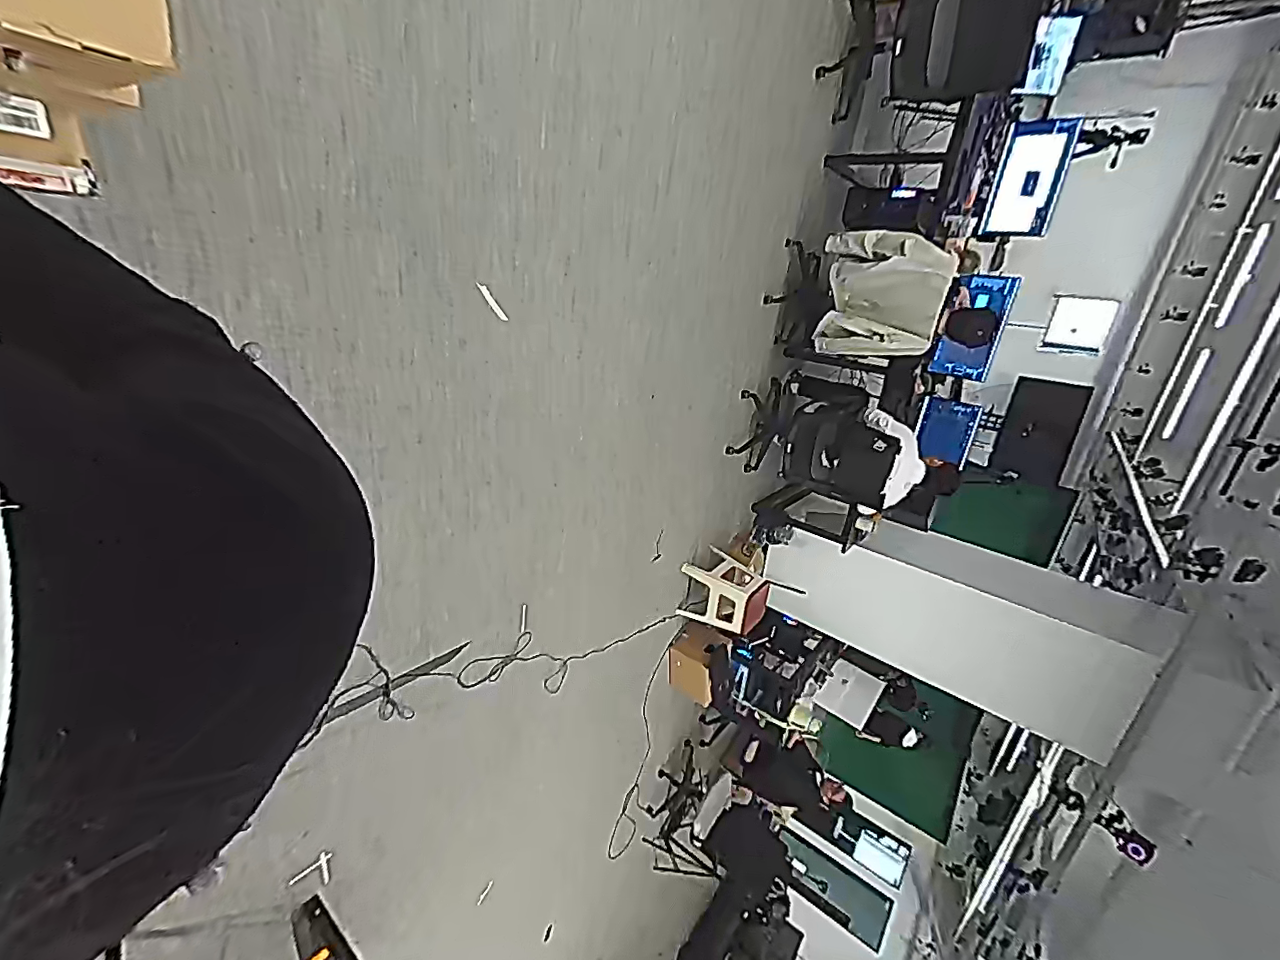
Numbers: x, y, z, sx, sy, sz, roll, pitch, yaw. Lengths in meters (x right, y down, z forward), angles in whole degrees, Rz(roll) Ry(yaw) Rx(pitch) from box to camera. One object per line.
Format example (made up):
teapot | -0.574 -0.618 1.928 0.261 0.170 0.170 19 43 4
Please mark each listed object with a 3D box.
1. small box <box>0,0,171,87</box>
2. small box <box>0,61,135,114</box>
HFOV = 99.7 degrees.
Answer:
small box | -0.518 -0.445 0.430 0.168 0.176 0.179 -20 125 -51
small box | -0.642 -0.488 0.531 0.168 0.176 0.179 -17 123 -53
